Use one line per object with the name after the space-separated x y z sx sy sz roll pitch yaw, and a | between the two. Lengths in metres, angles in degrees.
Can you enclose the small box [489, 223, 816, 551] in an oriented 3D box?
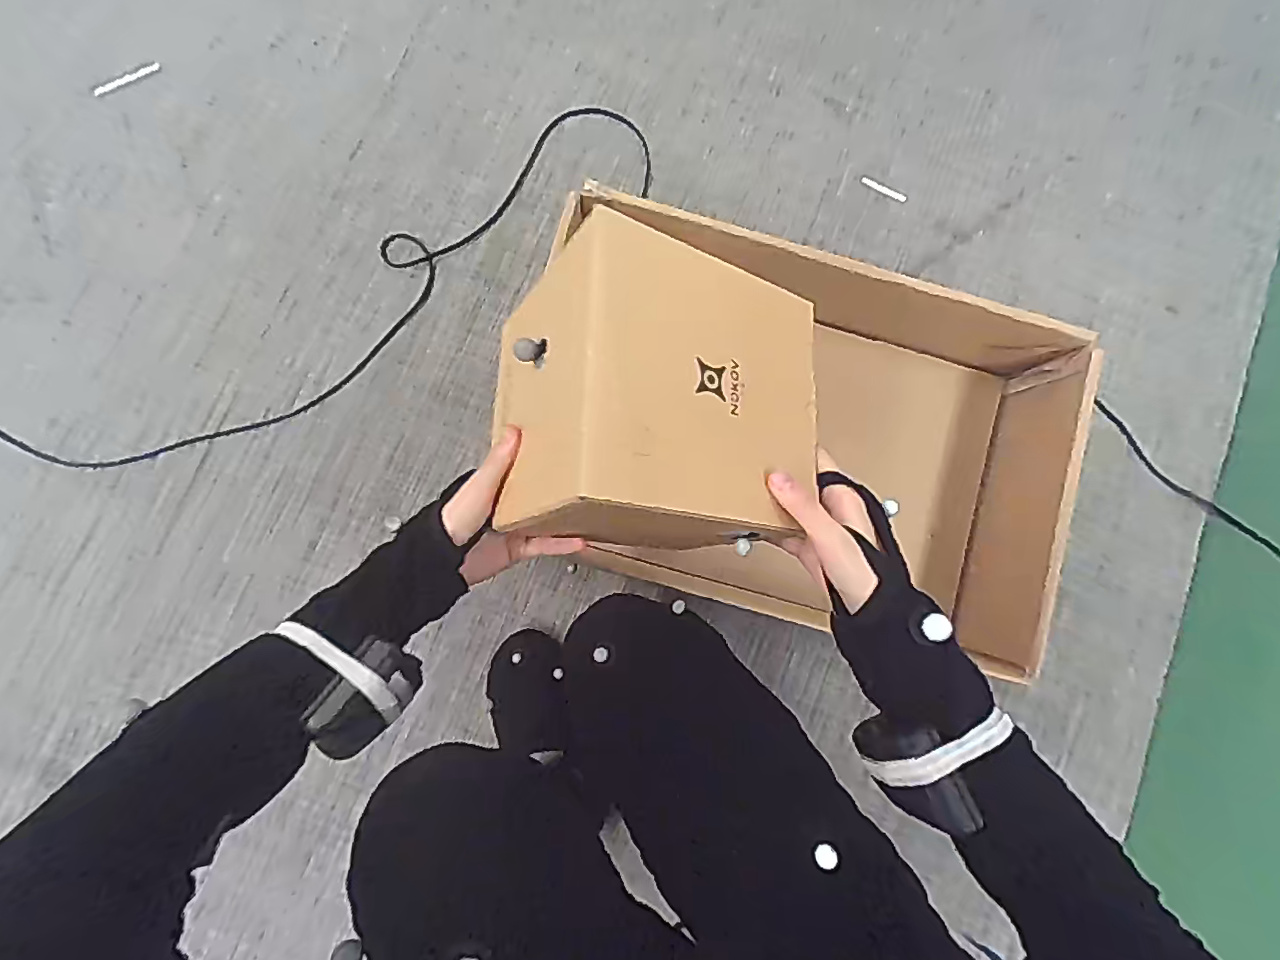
0.001 -0.040 0.393 0.179 0.176 0.168 10 75 -31 | small box
